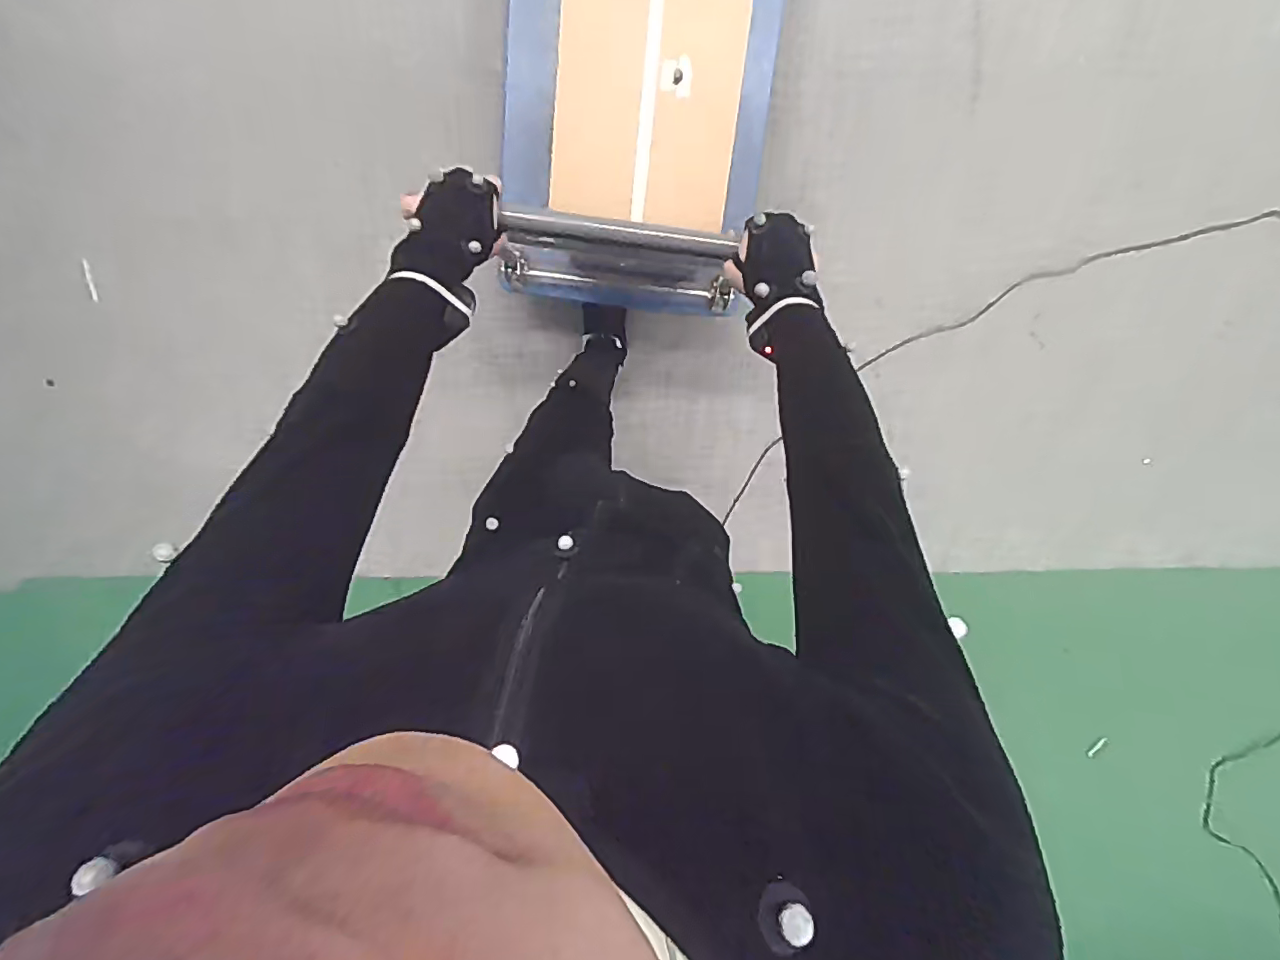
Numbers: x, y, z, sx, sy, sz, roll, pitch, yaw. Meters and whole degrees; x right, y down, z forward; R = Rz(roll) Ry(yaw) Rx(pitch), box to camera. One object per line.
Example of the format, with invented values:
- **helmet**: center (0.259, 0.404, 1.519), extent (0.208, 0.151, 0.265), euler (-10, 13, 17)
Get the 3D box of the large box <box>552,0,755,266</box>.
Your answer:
- **large box**: center (0.016, -0.657, 1.054), extent (0.320, 0.320, 0.408), euler (6, 105, -3)
